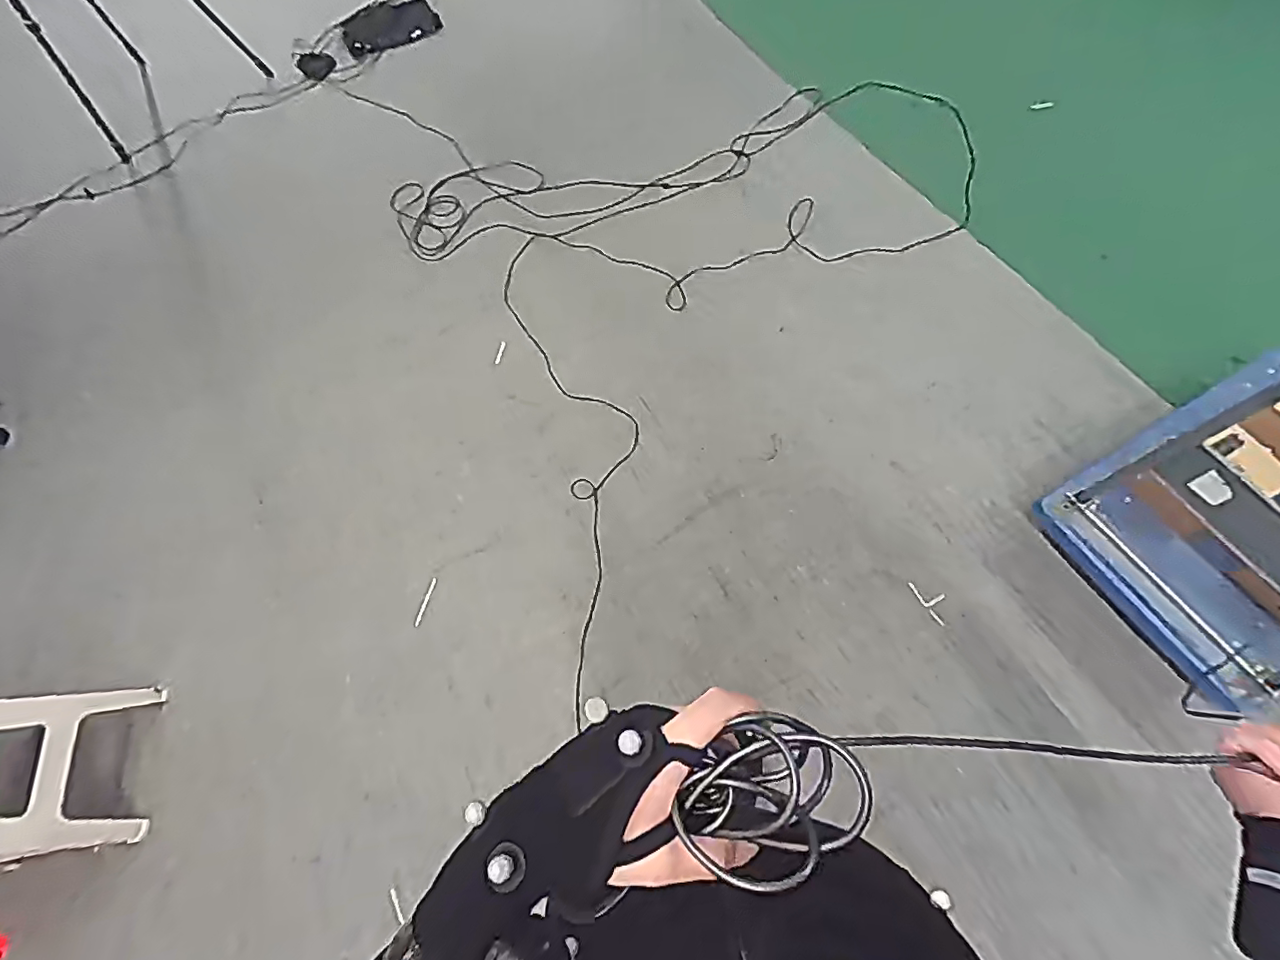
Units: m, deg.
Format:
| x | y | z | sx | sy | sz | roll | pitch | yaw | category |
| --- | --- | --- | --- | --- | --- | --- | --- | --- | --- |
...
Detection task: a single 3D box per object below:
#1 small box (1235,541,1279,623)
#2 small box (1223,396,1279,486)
| x | y | z | sx | sy | sz | roll | pitch | yaw | category |
| --- | --- | --- | --- | --- | --- | --- | --- | --- | --- |
| 1.460 | 0.206 | 1.148 | 0.179 | 0.176 | 0.168 | -29 | 67 | -5 | small box |
| 1.557 | -0.113 | 1.272 | 0.179 | 0.176 | 0.168 | -33 | 68 | -8 | small box |
